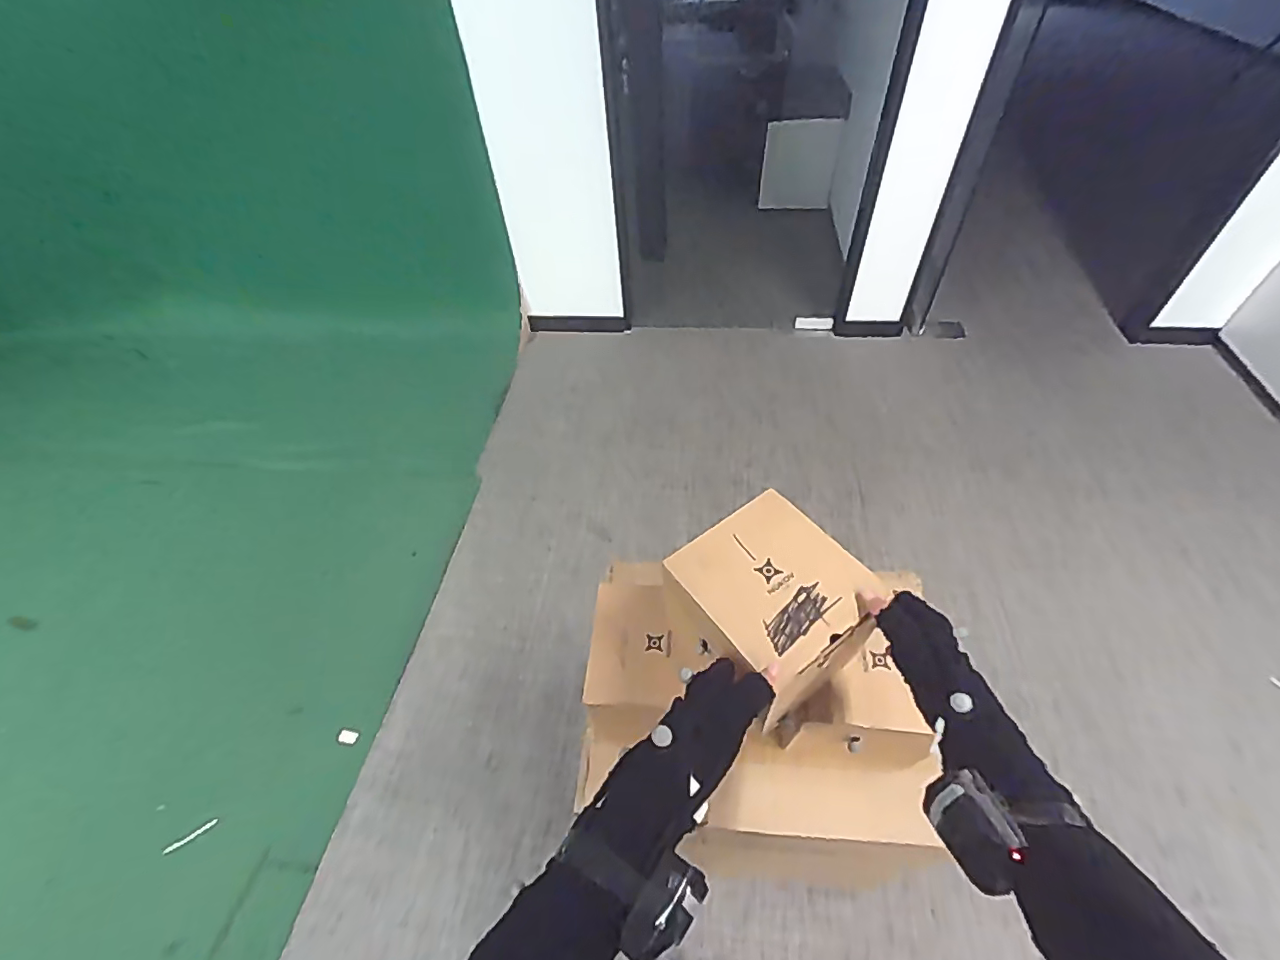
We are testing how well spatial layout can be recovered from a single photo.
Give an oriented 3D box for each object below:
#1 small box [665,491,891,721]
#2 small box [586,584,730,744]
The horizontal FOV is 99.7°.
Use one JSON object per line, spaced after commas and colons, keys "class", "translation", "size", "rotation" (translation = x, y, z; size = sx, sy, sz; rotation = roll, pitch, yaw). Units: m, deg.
{"class": "small box", "translation": [0.147, 0.153, 0.629], "size": [0.168, 0.176, 0.179], "rotation": [-31, 54, -19]}
{"class": "small box", "translation": [0.031, 0.261, 0.762], "size": [0.179, 0.176, 0.168], "rotation": [0, 50, 6]}
